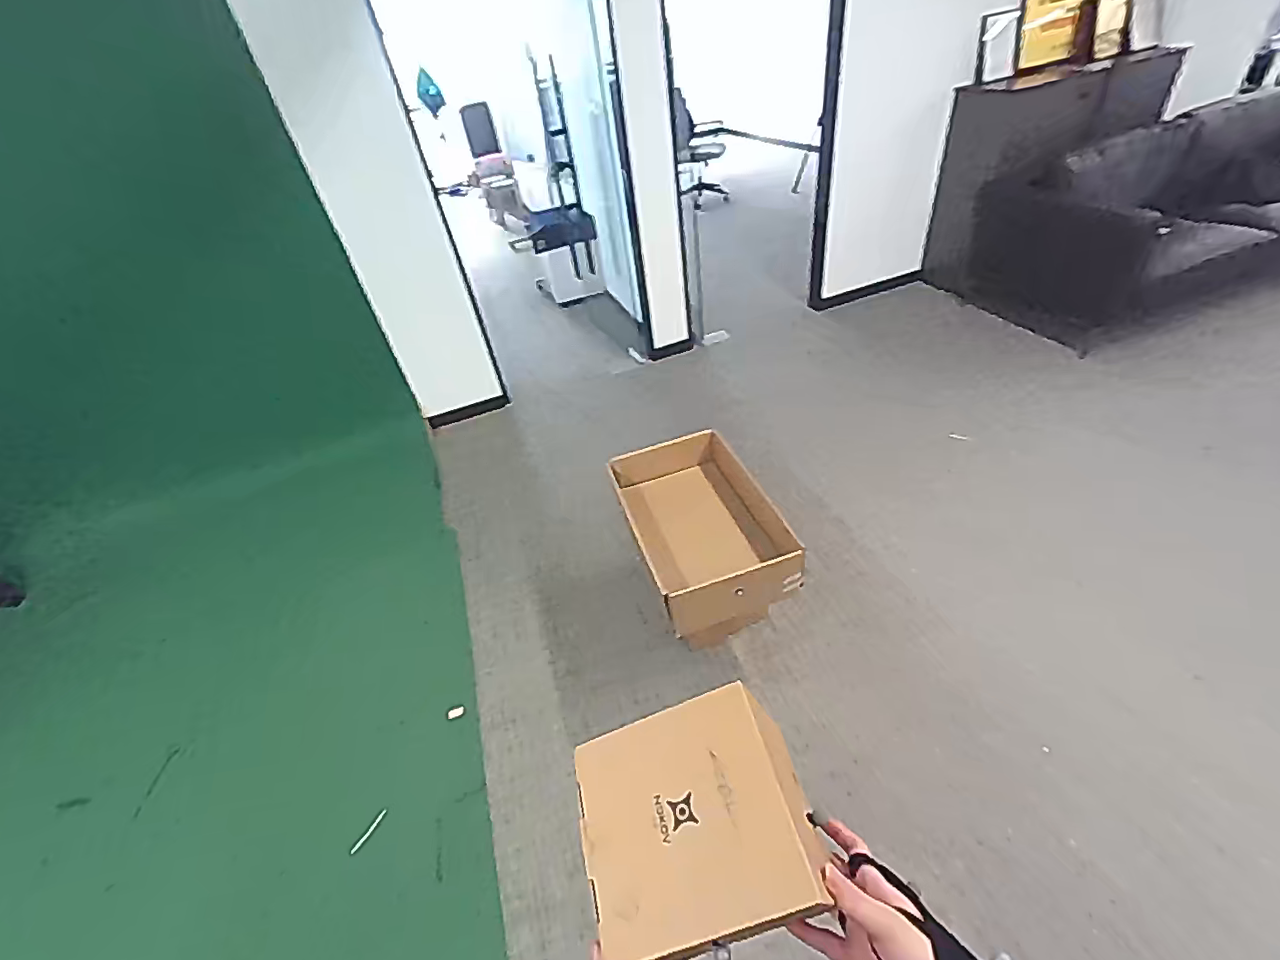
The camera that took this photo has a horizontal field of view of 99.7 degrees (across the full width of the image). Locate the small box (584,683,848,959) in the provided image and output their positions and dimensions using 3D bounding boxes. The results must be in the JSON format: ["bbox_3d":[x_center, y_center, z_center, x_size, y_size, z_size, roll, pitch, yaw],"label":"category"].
[{"bbox_3d":[0.070,0.320,0.500,0.179,0.176,0.168,-24,47,8],"label":"small box"}]
